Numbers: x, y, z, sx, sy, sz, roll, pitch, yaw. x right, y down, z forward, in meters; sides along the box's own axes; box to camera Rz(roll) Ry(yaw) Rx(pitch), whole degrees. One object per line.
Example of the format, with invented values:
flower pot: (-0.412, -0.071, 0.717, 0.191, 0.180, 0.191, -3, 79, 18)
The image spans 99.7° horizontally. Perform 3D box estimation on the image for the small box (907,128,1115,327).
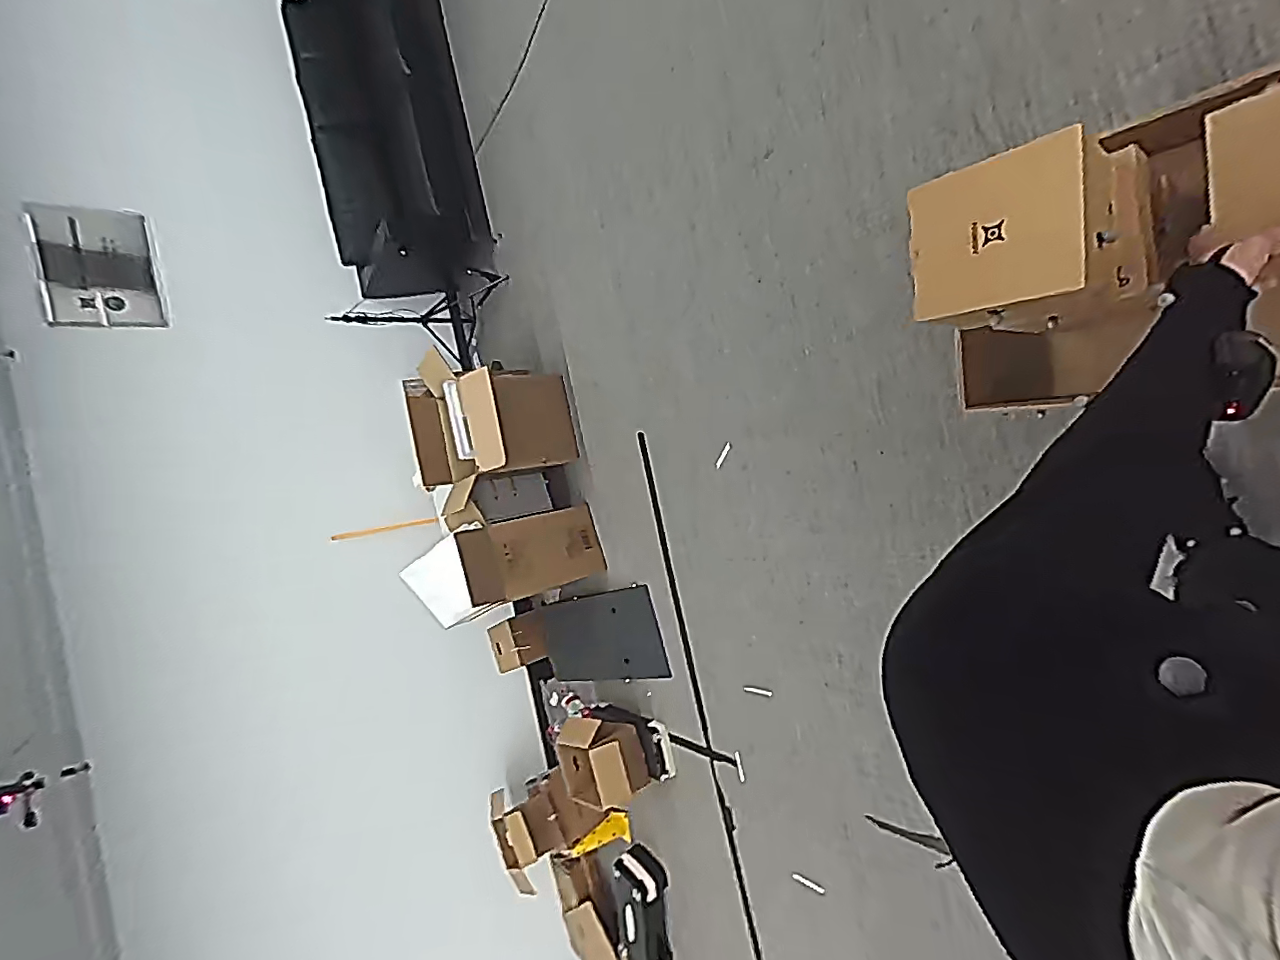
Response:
small box: (0.455, -0.288, 0.662, 0.179, 0.176, 0.168, 1, 99, 52)
